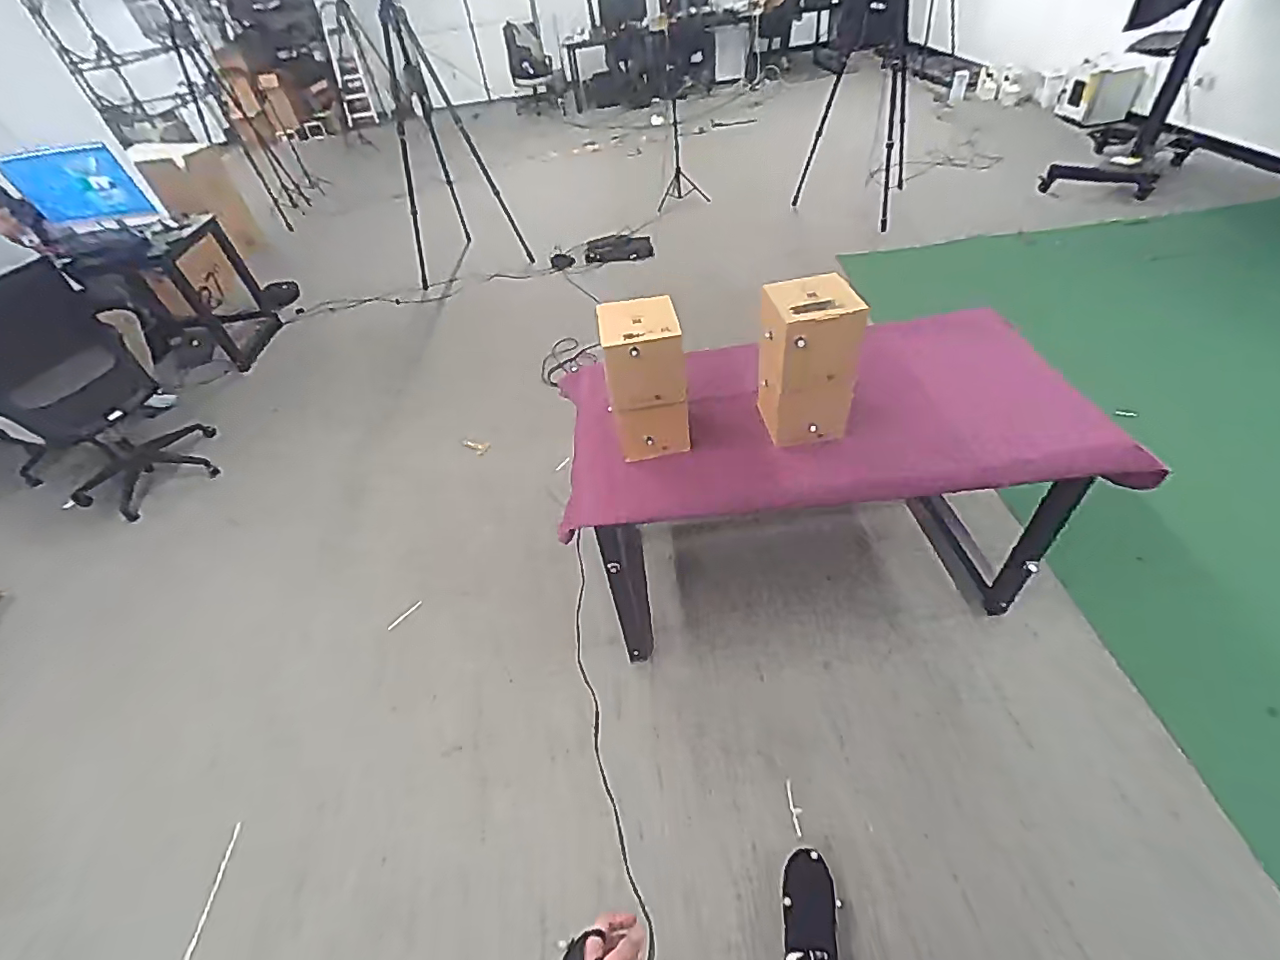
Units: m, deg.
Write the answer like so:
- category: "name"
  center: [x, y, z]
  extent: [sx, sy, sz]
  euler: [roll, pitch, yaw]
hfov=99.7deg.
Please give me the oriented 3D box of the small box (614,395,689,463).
- category: "small box"
  center: [0.022, -0.166, 1.312]
  extent: [0.168, 0.176, 0.179]
  euler: [-10, 45, -1]

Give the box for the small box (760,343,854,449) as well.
- category: "small box"
  center: [0.383, -0.197, 1.278]
  extent: [0.168, 0.176, 0.179]
  euler: [-9, 45, 2]

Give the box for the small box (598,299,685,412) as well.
- category: "small box"
  center: [0.003, -0.272, 1.188]
  extent: [0.168, 0.176, 0.179]
  euler: [-9, 44, 0]
